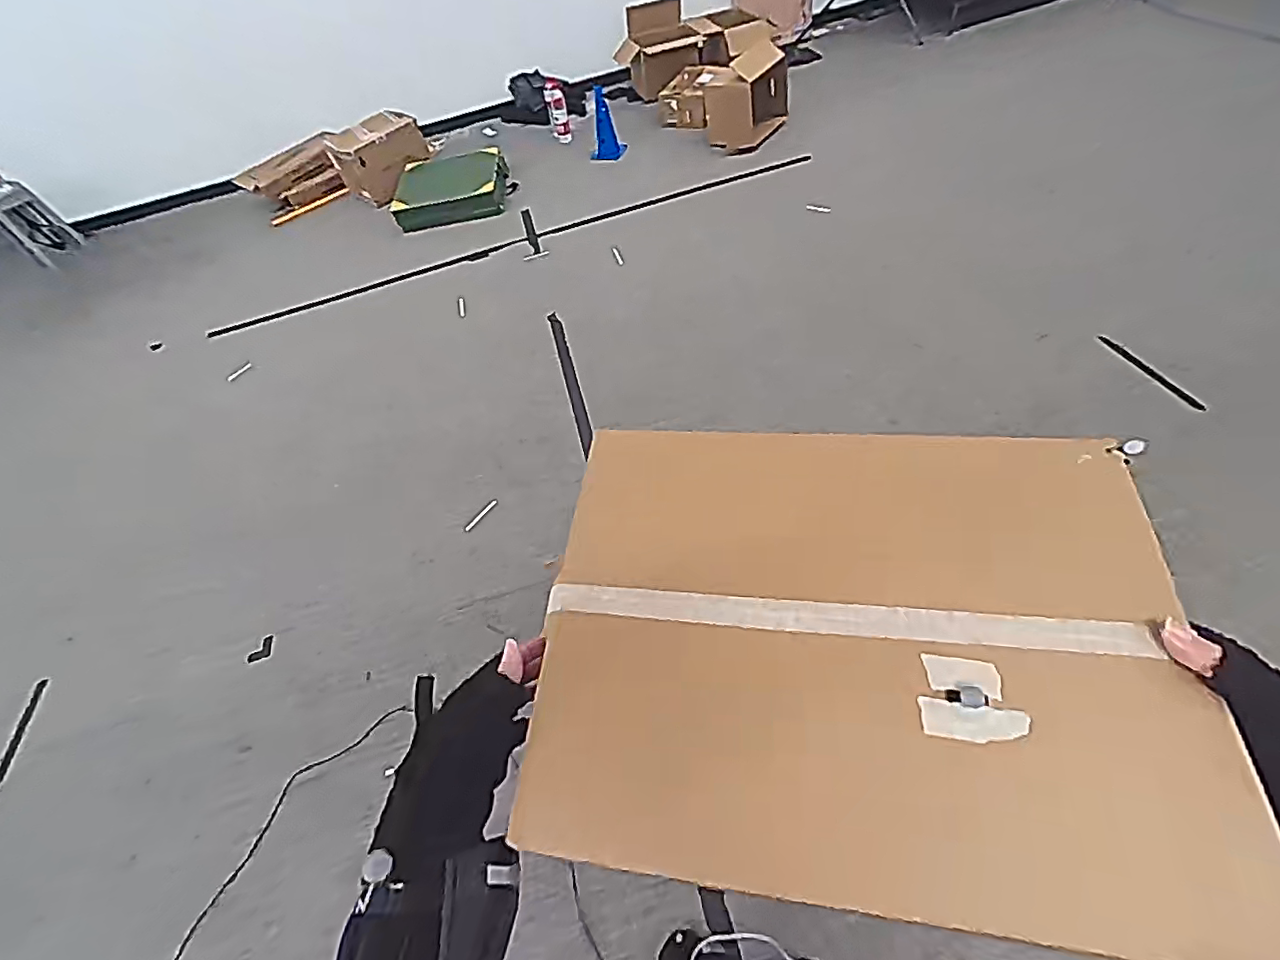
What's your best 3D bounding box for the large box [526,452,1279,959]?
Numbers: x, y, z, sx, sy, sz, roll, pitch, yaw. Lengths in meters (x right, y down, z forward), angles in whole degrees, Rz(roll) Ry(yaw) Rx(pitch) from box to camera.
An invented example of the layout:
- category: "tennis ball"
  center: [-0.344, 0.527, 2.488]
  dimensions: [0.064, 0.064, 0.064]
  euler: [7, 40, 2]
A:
- category: "large box"
  center: [0.156, 0.186, 0.498]
  dimensions: [0.408, 0.320, 0.320]
  euler: [1, 58, 10]
